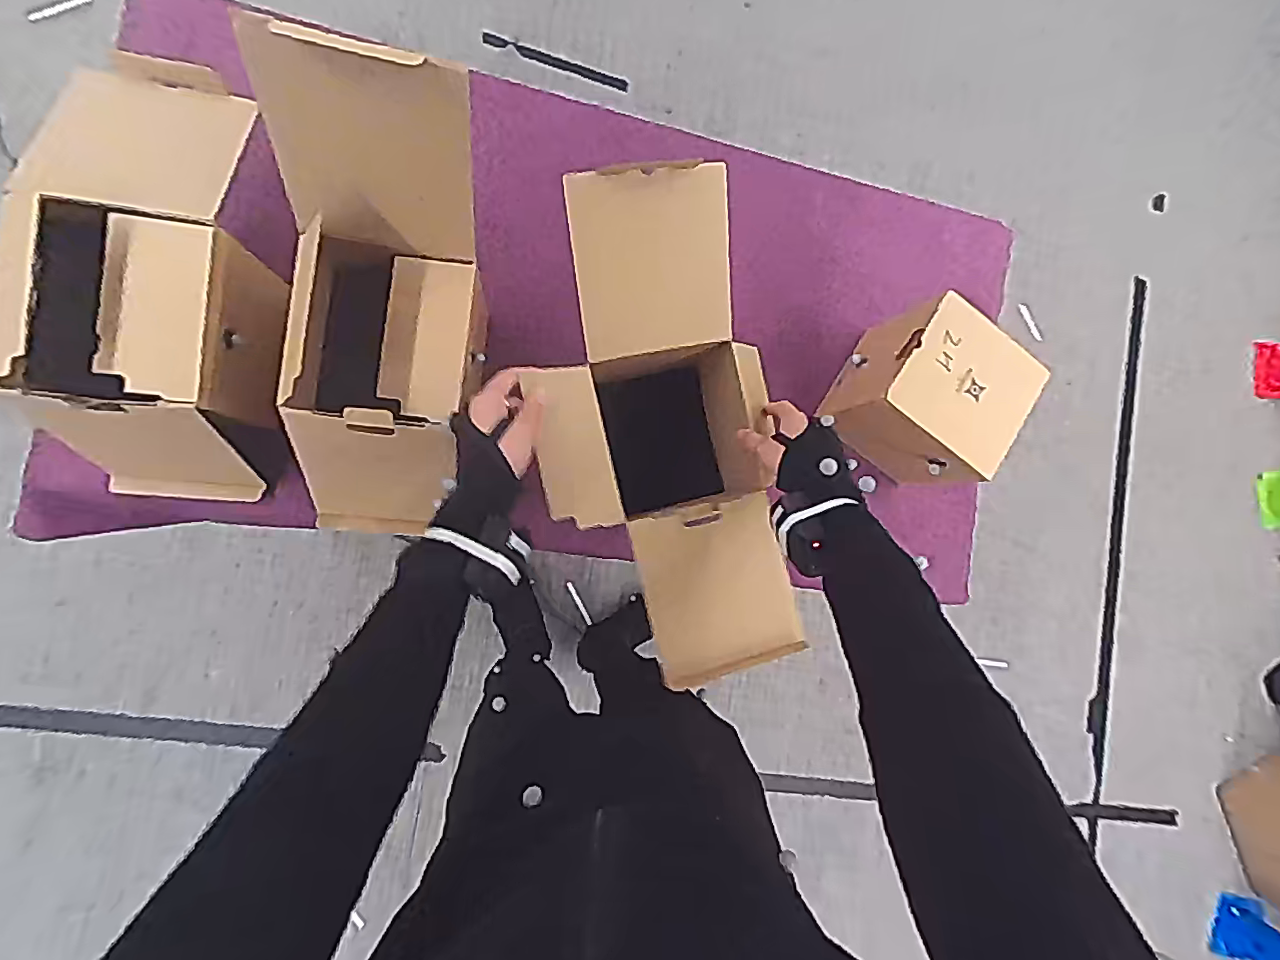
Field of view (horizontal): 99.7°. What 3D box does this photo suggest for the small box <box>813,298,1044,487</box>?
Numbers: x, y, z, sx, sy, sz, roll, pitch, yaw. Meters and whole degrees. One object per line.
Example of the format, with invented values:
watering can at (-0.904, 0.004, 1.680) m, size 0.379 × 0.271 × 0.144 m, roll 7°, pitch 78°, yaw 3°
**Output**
small box at (0.375, -0.105, 0.730) m, size 0.179 × 0.176 × 0.168 m, roll 36°, pitch 82°, yaw -7°
